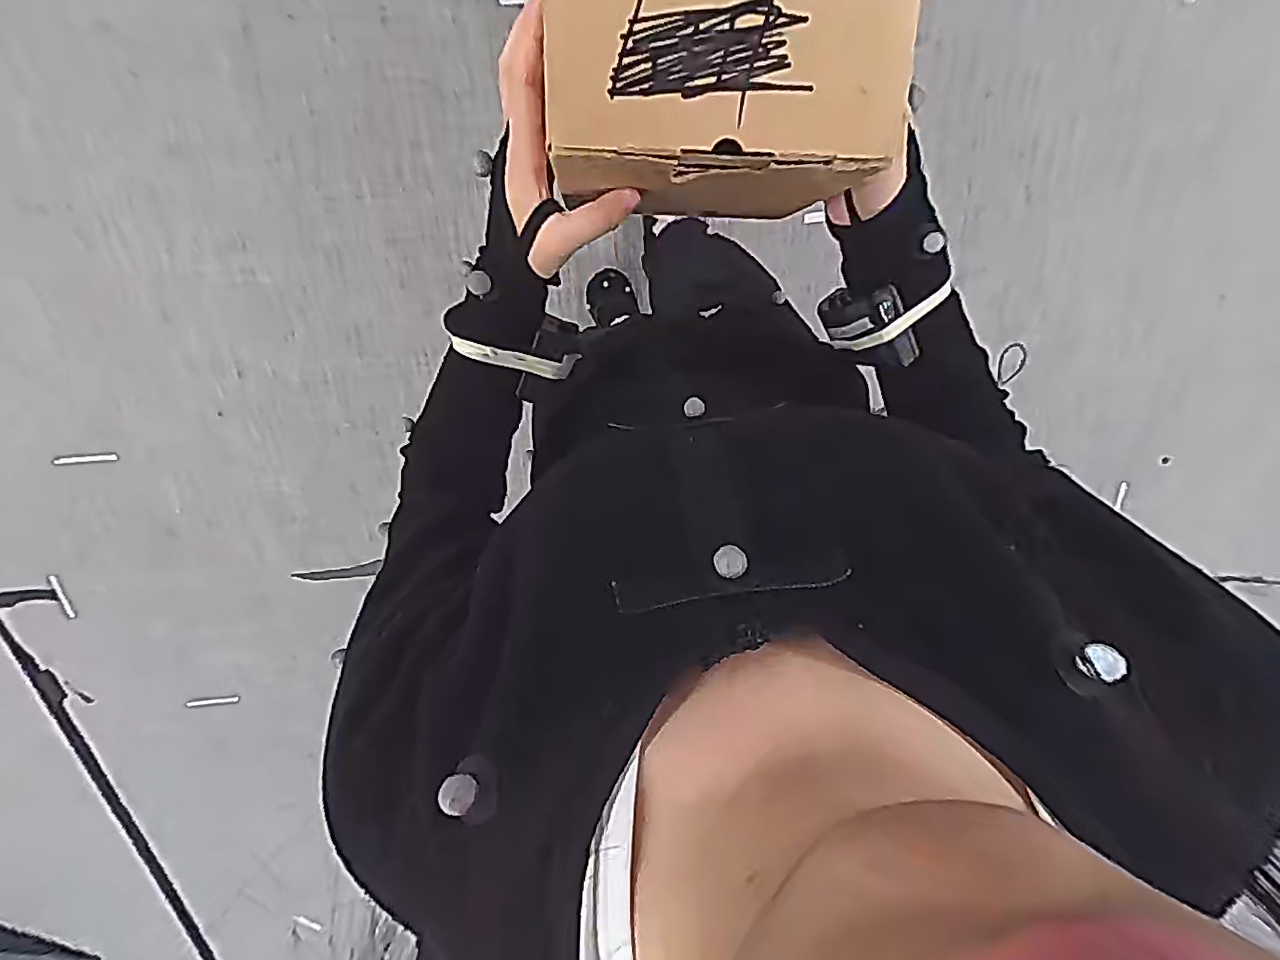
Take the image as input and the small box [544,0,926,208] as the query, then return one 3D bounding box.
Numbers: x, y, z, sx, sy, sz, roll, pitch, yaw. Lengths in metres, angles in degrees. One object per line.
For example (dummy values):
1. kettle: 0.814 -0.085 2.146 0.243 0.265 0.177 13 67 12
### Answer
1. small box: 0.038 -0.258 0.295 0.168 0.176 0.179 0 107 -5
